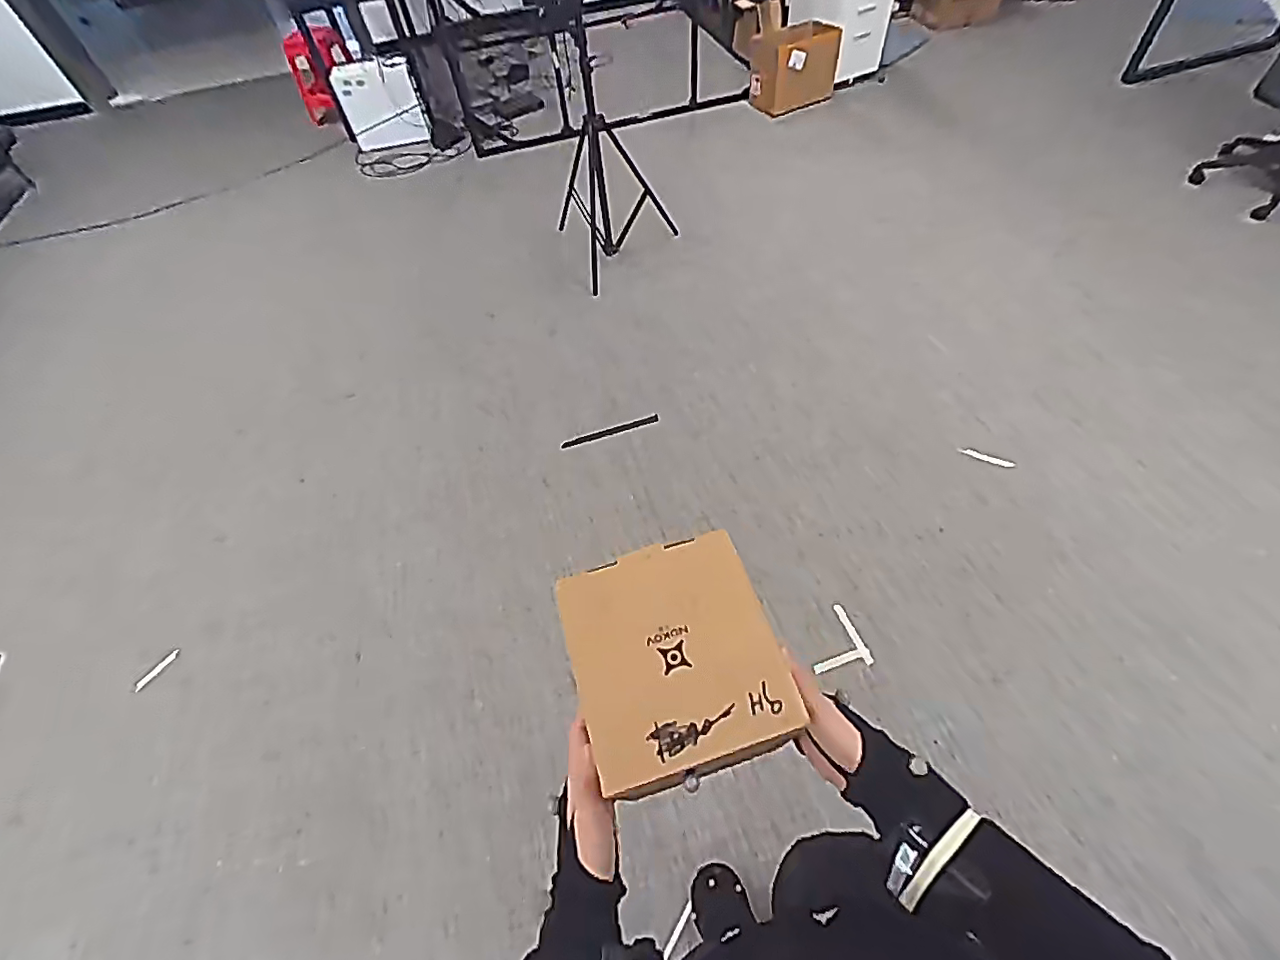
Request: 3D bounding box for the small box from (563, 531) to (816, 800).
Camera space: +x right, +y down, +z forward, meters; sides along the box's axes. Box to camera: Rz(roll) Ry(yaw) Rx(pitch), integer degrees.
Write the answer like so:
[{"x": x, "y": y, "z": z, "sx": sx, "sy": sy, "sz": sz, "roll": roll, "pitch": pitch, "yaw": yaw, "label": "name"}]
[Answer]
[{"x": 0.037, "y": 0.179, "z": 0.508, "sx": 0.168, "sy": 0.176, "sz": 0.179, "roll": -17, "pitch": 58, "yaw": -5, "label": "small box"}]
